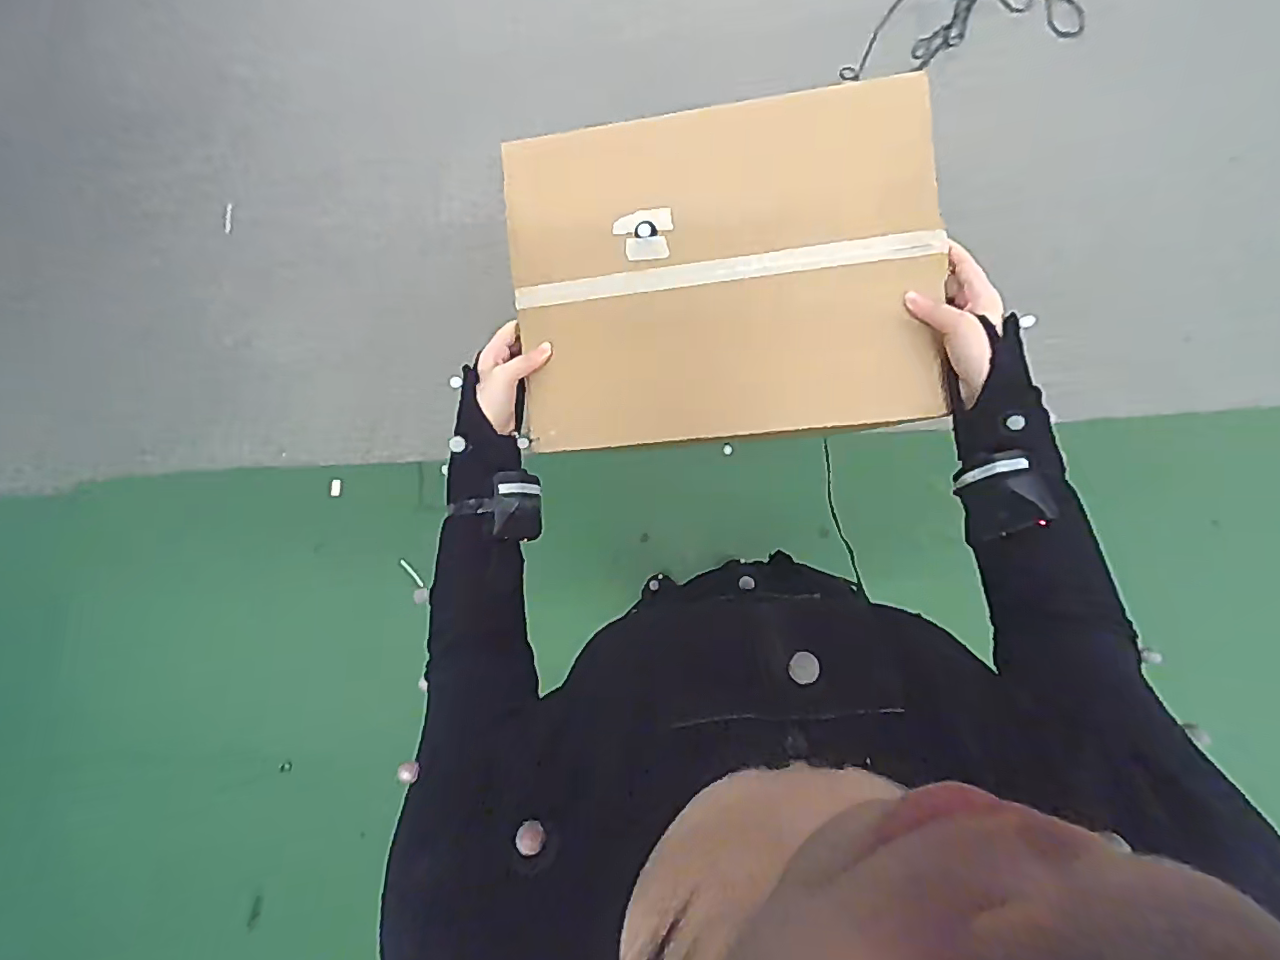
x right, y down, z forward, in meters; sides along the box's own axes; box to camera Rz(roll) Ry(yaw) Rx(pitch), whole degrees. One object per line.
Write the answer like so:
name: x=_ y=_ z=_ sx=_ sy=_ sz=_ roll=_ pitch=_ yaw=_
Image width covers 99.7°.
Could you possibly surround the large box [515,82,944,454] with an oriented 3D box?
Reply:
large box: x=0.103 y=-0.206 z=0.681 sx=0.408 sy=0.320 sz=0.320 roll=-5 pitch=92 yaw=10
